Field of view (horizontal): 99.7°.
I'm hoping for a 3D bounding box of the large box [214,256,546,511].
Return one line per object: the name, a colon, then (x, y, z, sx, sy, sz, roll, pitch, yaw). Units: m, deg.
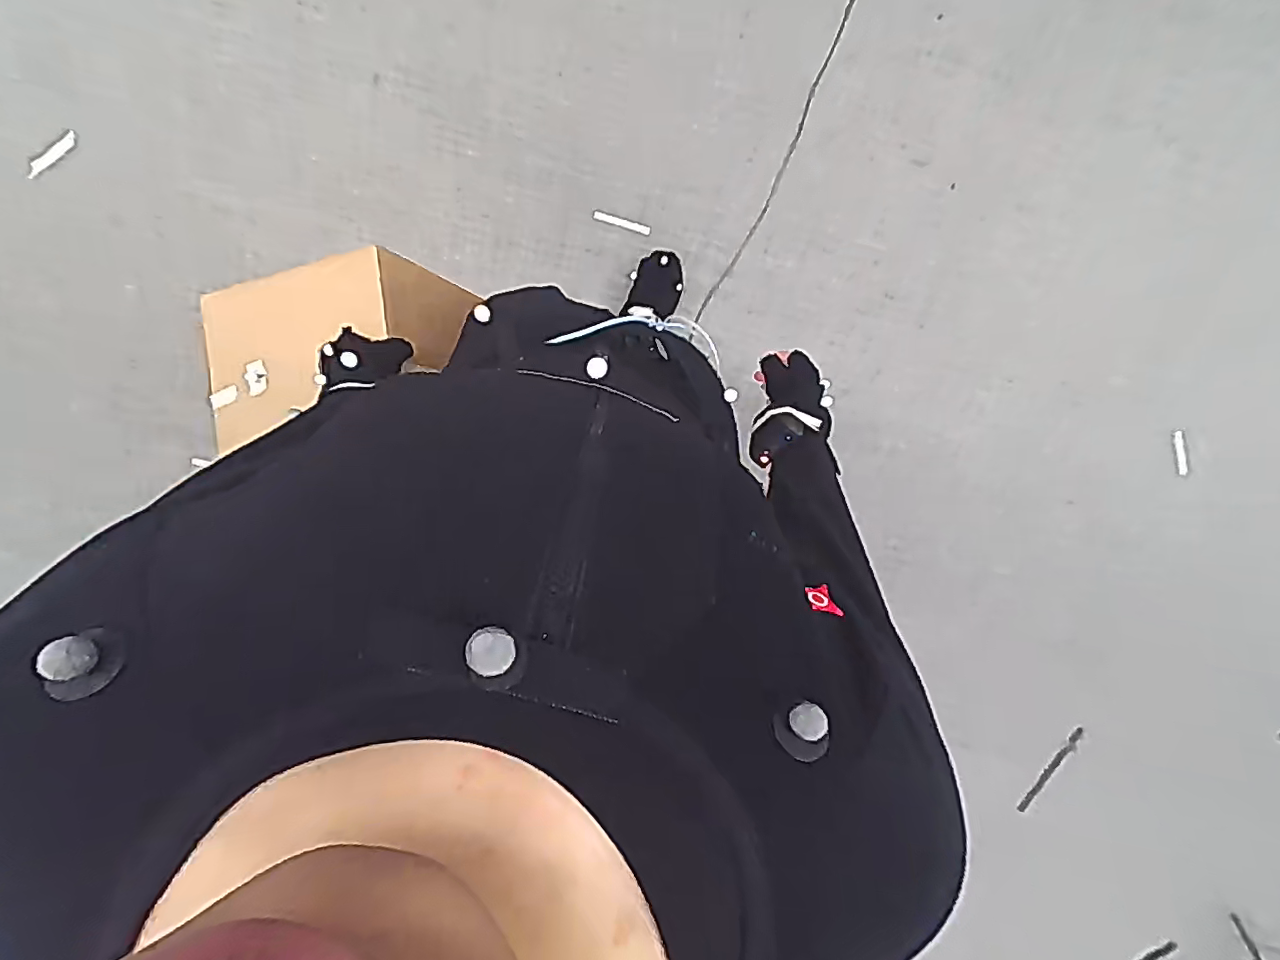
large box: (-0.402, -0.135, 0.928, 0.320, 0.408, 0.320, -7, 91, 14)
